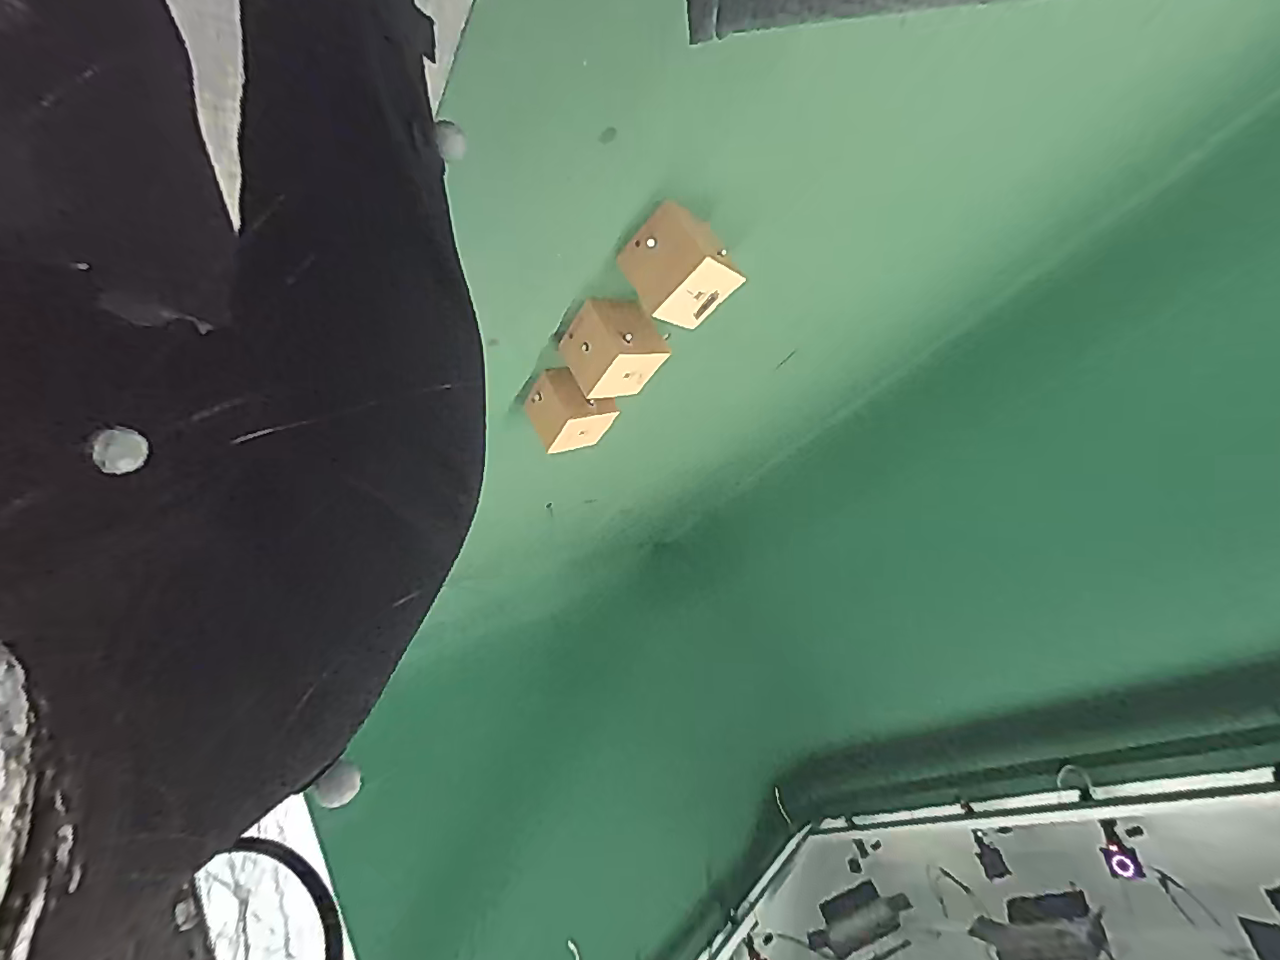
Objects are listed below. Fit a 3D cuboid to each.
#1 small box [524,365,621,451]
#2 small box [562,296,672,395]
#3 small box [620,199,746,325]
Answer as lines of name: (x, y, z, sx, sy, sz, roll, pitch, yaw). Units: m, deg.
small box: (-0.190, -0.207, 1.498, 0.179, 0.176, 0.168, -17, 160, -40)
small box: (-0.062, -0.330, 1.325, 0.179, 0.176, 0.168, -15, 160, -43)
small box: (0.091, -0.466, 1.167, 0.168, 0.176, 0.179, -40, 161, 31)
